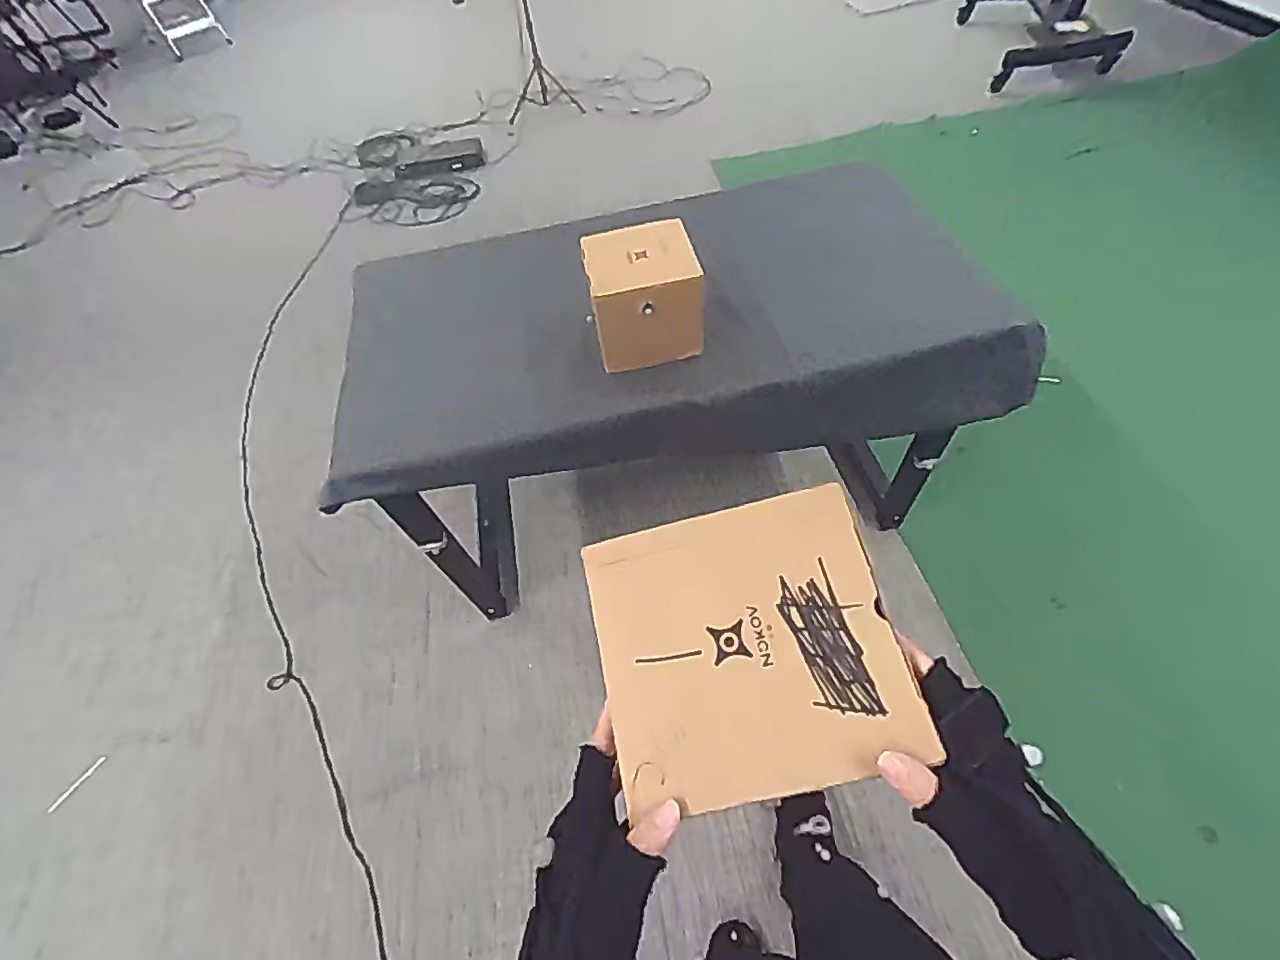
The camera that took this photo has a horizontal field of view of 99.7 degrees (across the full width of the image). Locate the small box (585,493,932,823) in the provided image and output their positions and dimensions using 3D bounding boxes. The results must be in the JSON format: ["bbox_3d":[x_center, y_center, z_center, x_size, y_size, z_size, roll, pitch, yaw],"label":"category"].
[{"bbox_3d":[0.072,0.128,0.402,0.179,0.176,0.168,-14,67,4],"label":"small box"}]

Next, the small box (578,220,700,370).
[{"bbox_3d":[0.001,-0.310,0.928,0.179,0.176,0.168,-12,57,-3],"label":"small box"}]
